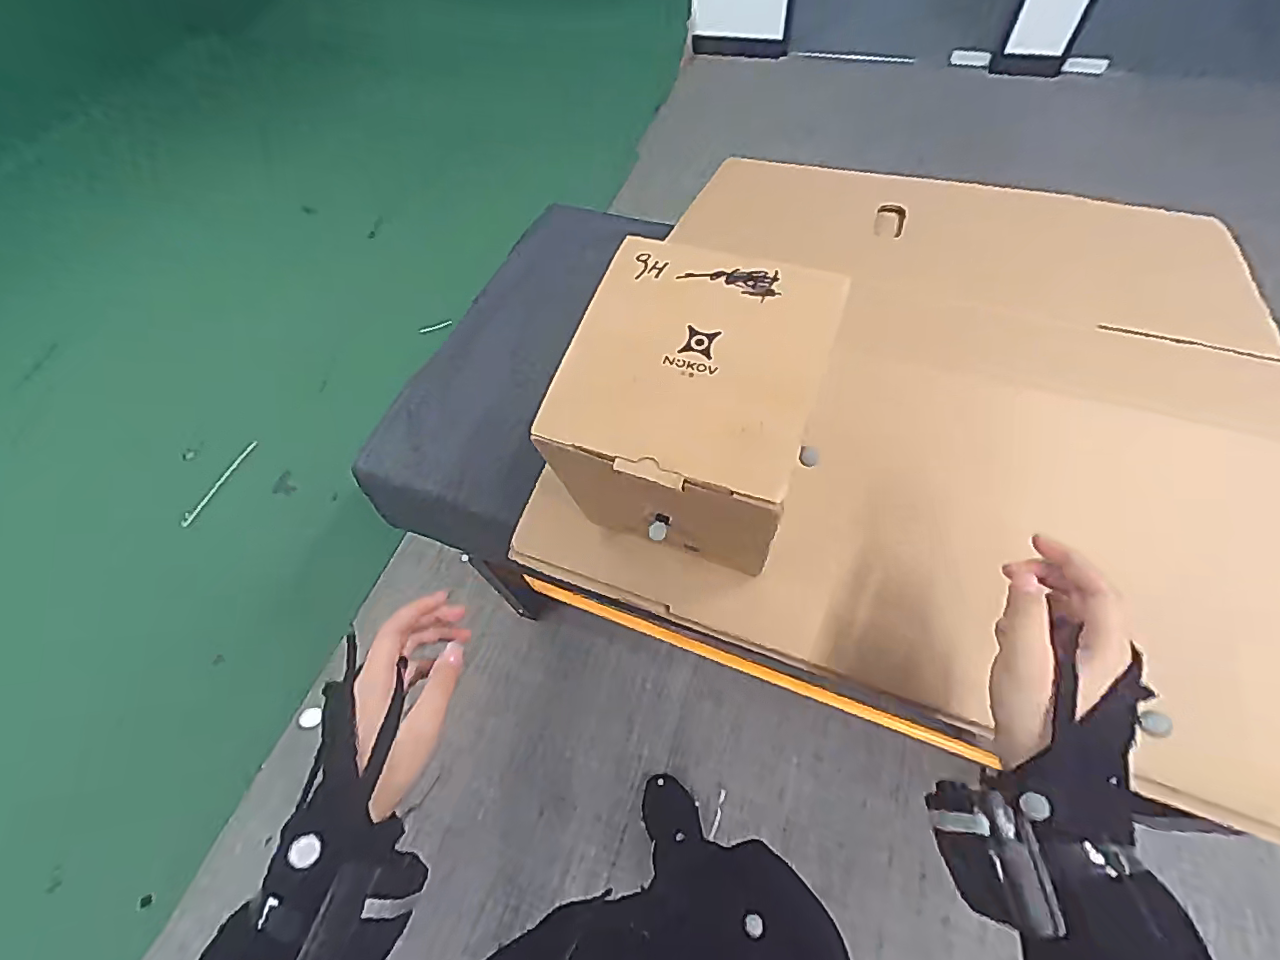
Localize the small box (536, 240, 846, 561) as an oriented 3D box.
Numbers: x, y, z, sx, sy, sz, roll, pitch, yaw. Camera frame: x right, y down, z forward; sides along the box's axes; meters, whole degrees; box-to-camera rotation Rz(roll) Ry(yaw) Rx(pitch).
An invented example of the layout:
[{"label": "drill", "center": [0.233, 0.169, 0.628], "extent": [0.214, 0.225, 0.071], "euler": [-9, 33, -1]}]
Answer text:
[{"label": "small box", "center": [0.047, -0.051, 0.430], "extent": [0.168, 0.176, 0.179], "euler": [17, 71, 15]}]
